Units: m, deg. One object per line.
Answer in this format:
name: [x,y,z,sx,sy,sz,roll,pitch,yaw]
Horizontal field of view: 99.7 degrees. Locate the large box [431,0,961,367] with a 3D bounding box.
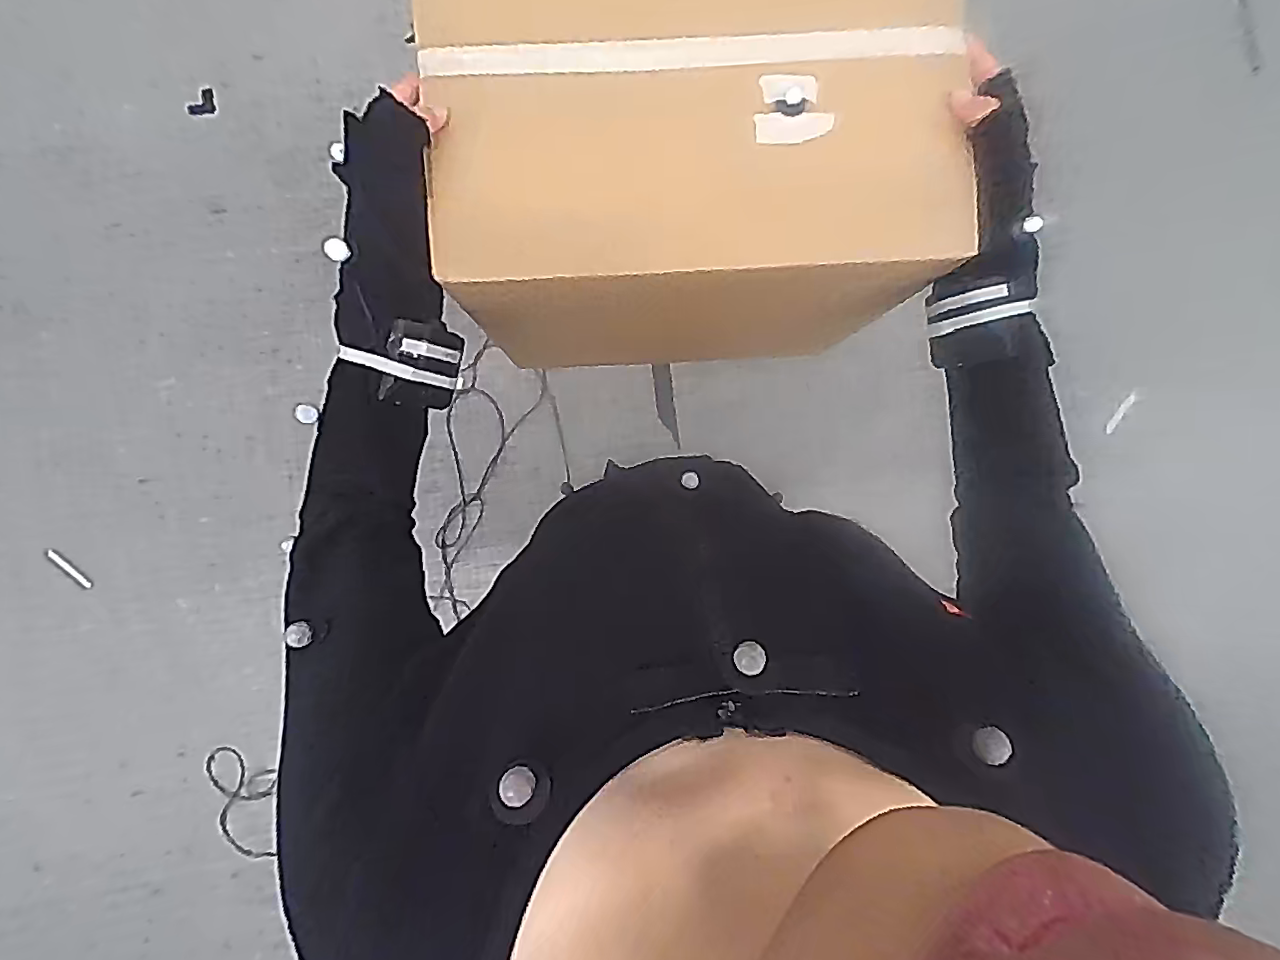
large box: [0.037,-0.316,0.566,0.408,0.320,0.320,-4,90,-2]
